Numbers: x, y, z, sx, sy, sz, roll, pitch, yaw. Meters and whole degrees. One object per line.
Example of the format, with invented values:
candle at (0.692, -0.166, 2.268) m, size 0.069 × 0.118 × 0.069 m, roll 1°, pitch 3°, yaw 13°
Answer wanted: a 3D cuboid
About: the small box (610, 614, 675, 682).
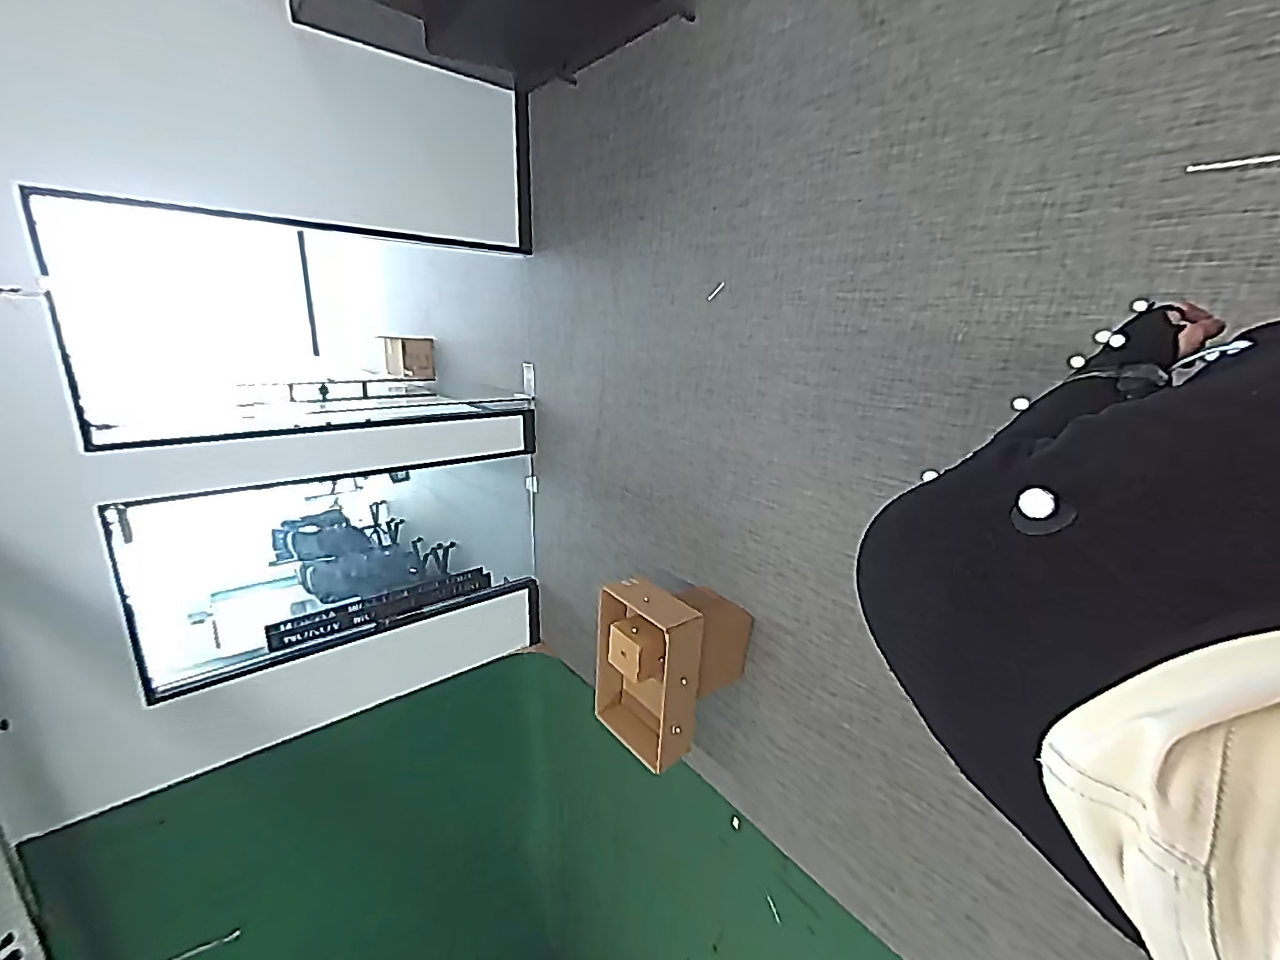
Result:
small box at (0.008, 0.628, 2.048) m, size 0.179 × 0.176 × 0.168 m, roll 23°, pitch 115°, yaw 46°
